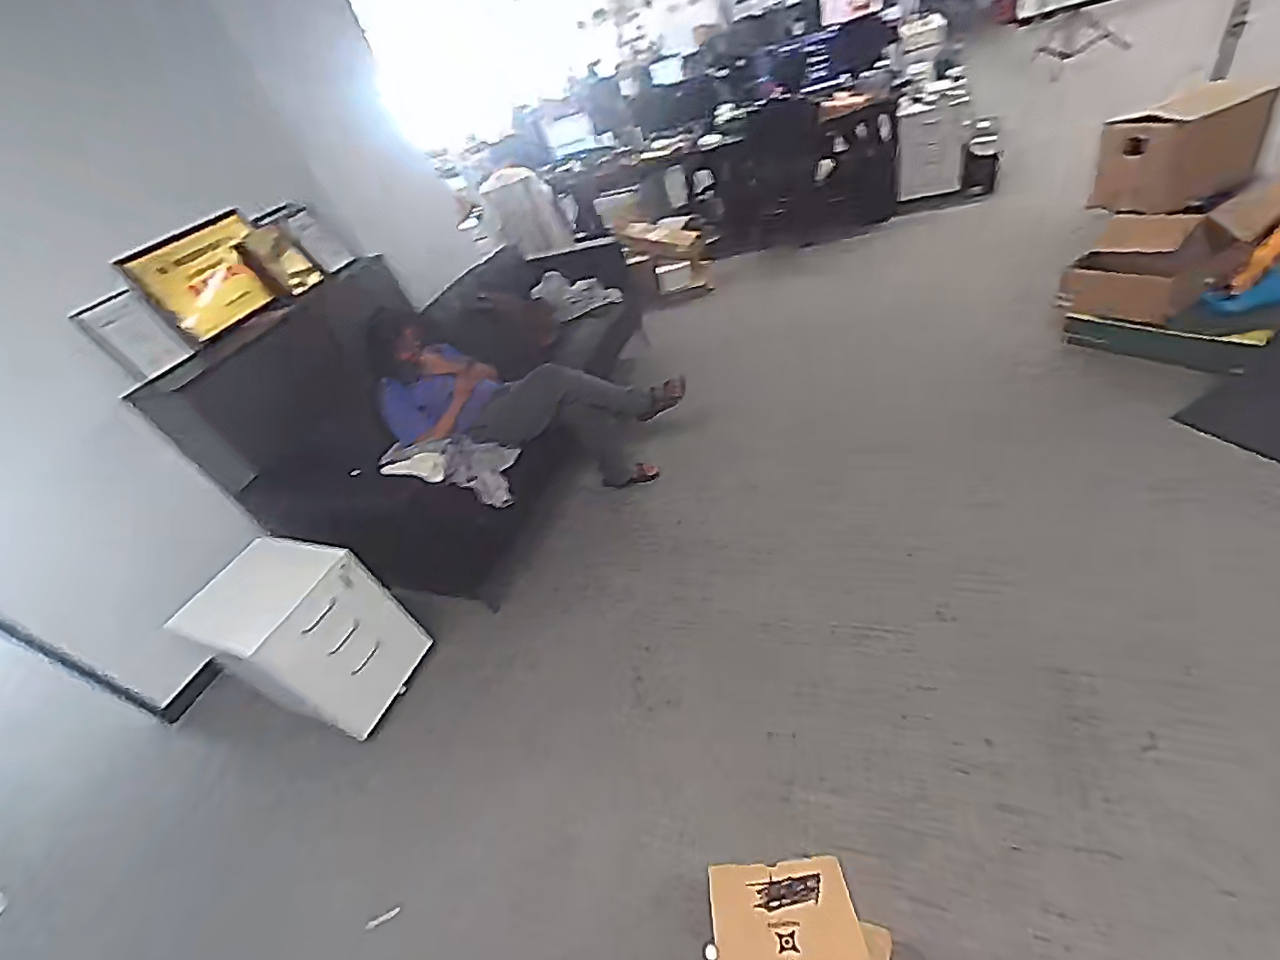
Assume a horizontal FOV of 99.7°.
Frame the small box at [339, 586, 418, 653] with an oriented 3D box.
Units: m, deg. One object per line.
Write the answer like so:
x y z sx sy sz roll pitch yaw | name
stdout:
-0.922 0.500 1.920 0.179 0.176 0.168 -26 -12 -13 | small box
